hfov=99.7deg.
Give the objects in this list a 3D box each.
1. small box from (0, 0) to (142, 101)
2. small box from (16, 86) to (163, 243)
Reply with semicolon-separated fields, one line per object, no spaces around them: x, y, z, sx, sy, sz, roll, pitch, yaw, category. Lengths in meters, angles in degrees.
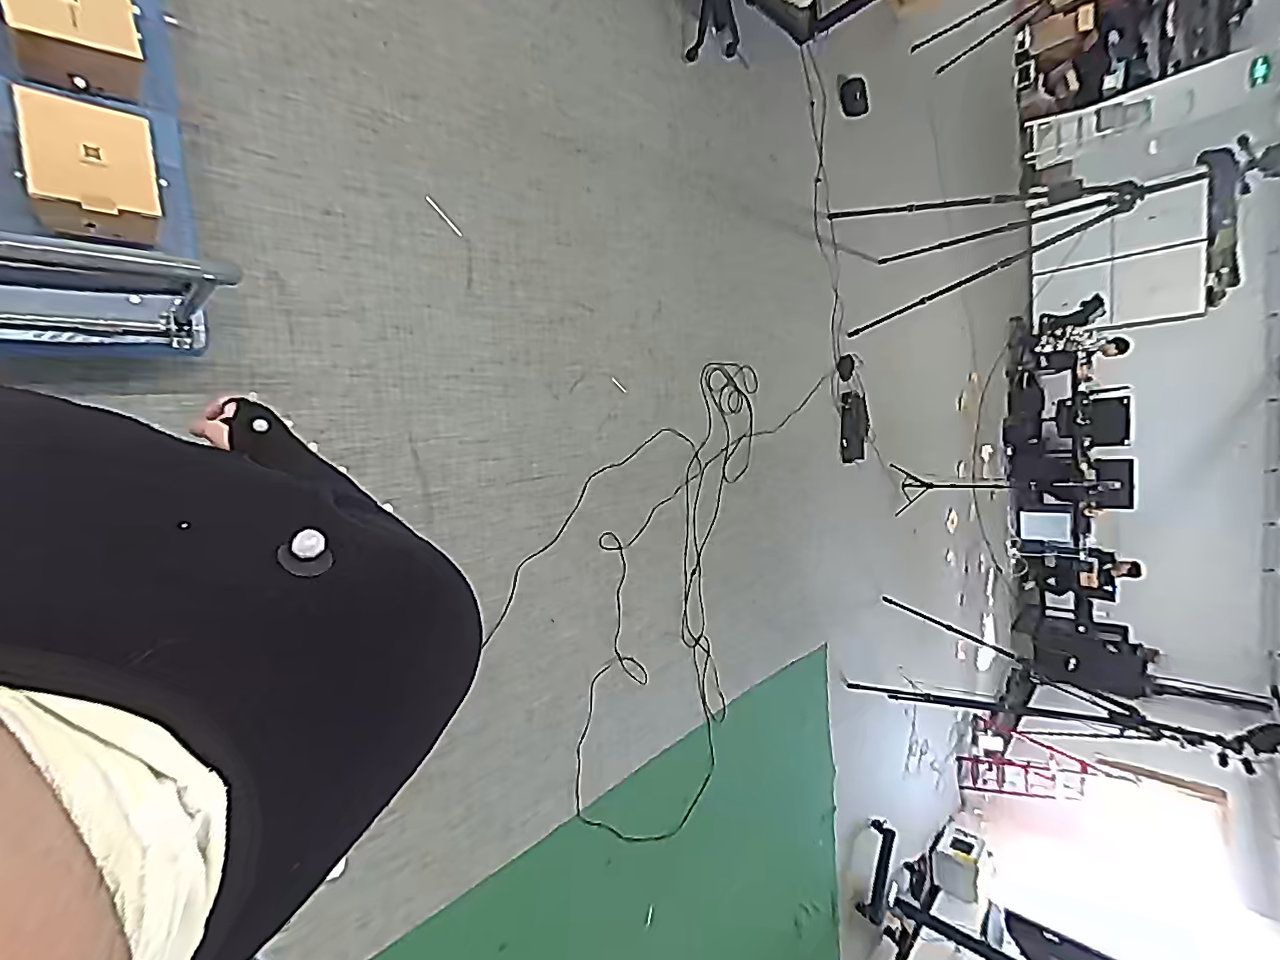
-1.022;-0.827;0.963;0.168;0.176;0.179;-15;102;-43;small box
-1.001;-0.561;0.990;0.168;0.176;0.179;-10;98;-44;small box
